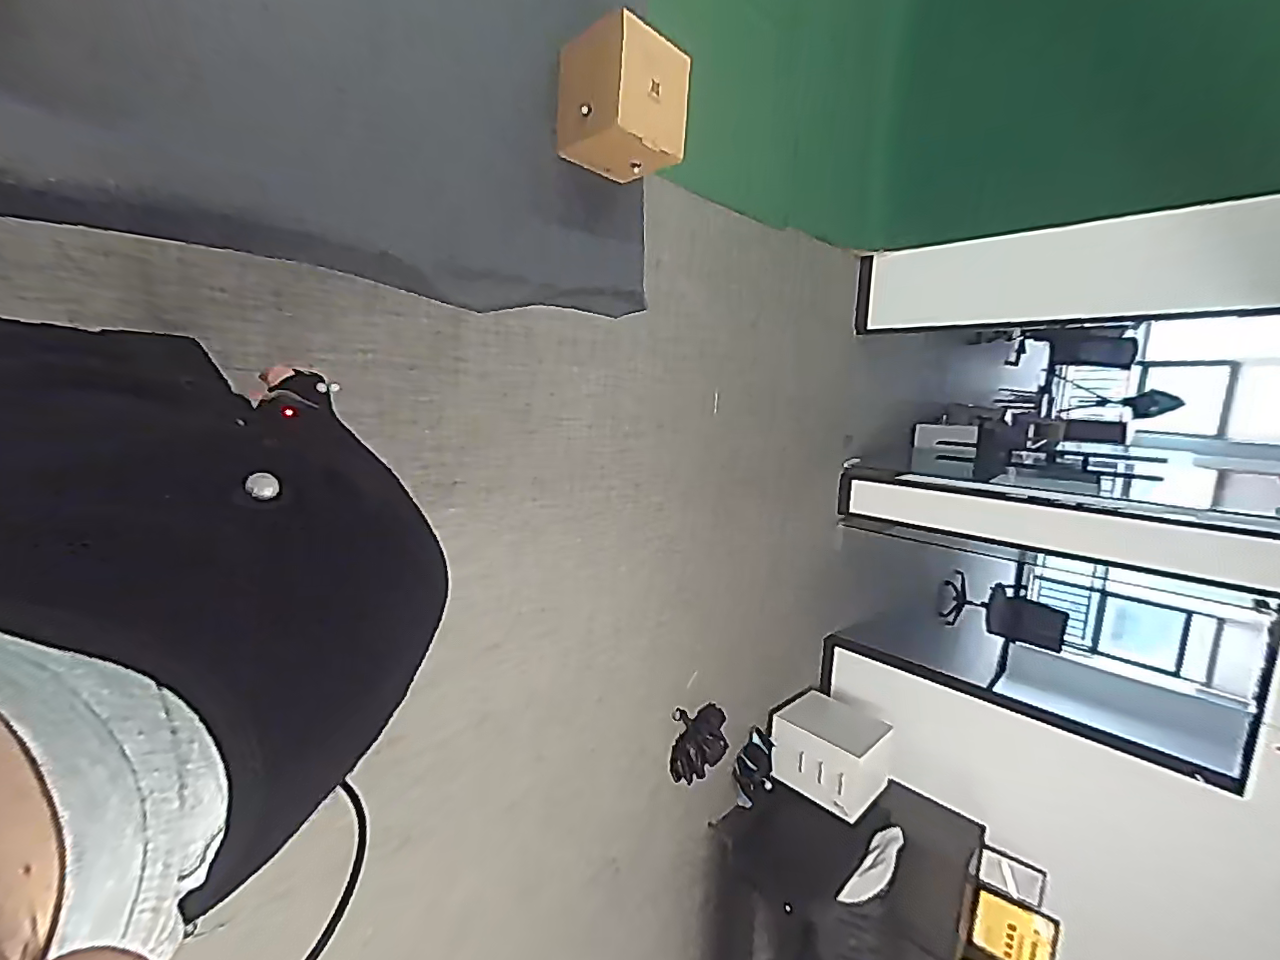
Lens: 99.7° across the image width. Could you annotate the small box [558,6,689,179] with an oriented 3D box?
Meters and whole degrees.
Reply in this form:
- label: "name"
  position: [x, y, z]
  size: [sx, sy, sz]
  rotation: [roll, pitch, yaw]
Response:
- label: "small box"
  position: [-0.033, -0.666, 0.962]
  size: [0.168, 0.176, 0.179]
  rotation: [-6, 101, -45]
